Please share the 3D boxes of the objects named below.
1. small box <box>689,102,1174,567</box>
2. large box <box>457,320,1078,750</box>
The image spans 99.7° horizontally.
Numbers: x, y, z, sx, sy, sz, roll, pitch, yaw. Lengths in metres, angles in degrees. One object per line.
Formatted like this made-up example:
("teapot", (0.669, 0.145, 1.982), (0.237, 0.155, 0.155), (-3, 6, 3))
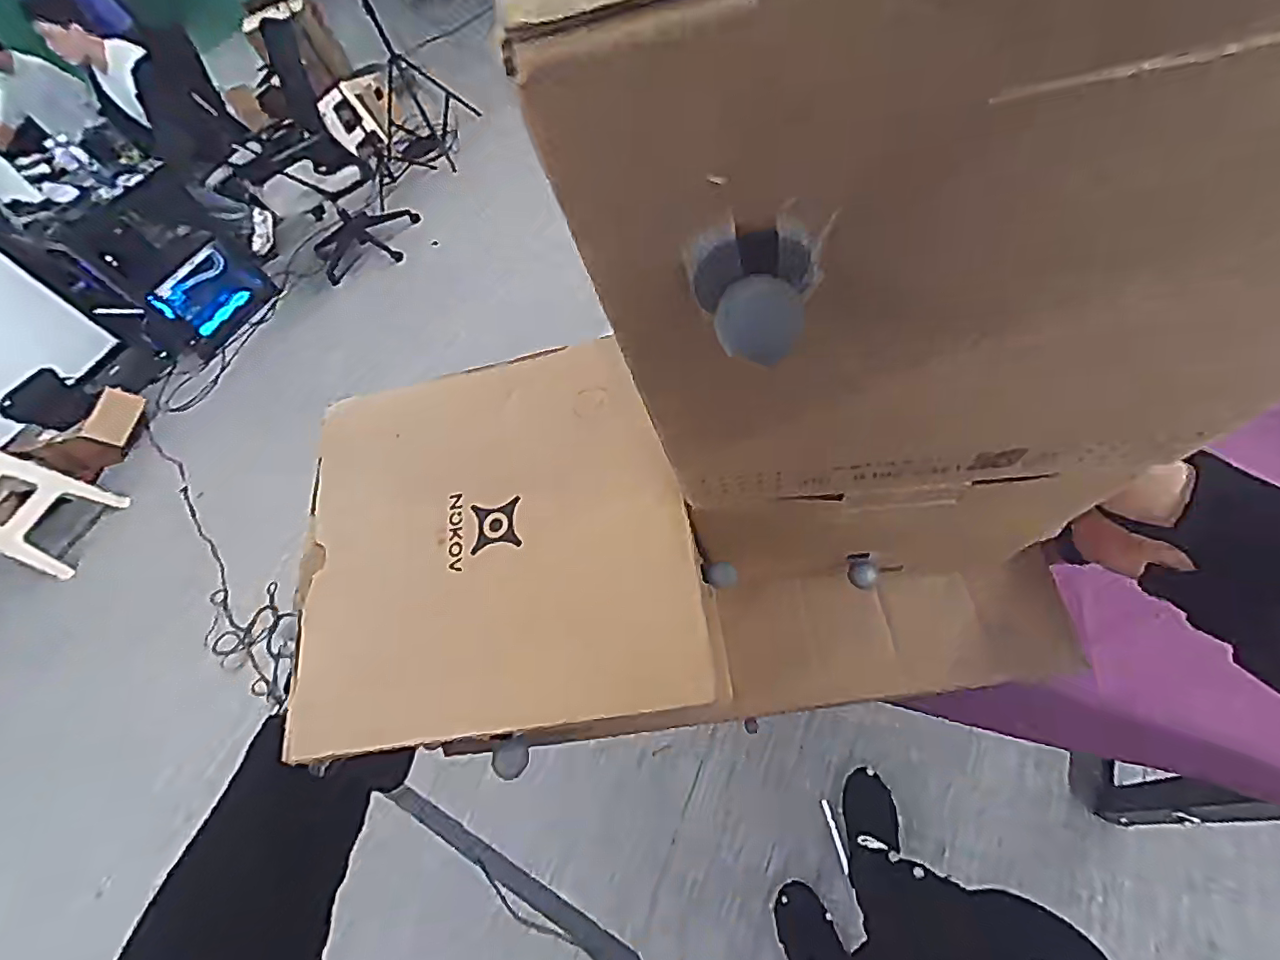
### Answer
("small box", (0.120, -0.058, 0.303), (0.168, 0.176, 0.179), (-5, 68, 12))
("large box", (0.082, 0.060, 0.537), (0.408, 0.320, 0.320), (-12, 65, 9))
